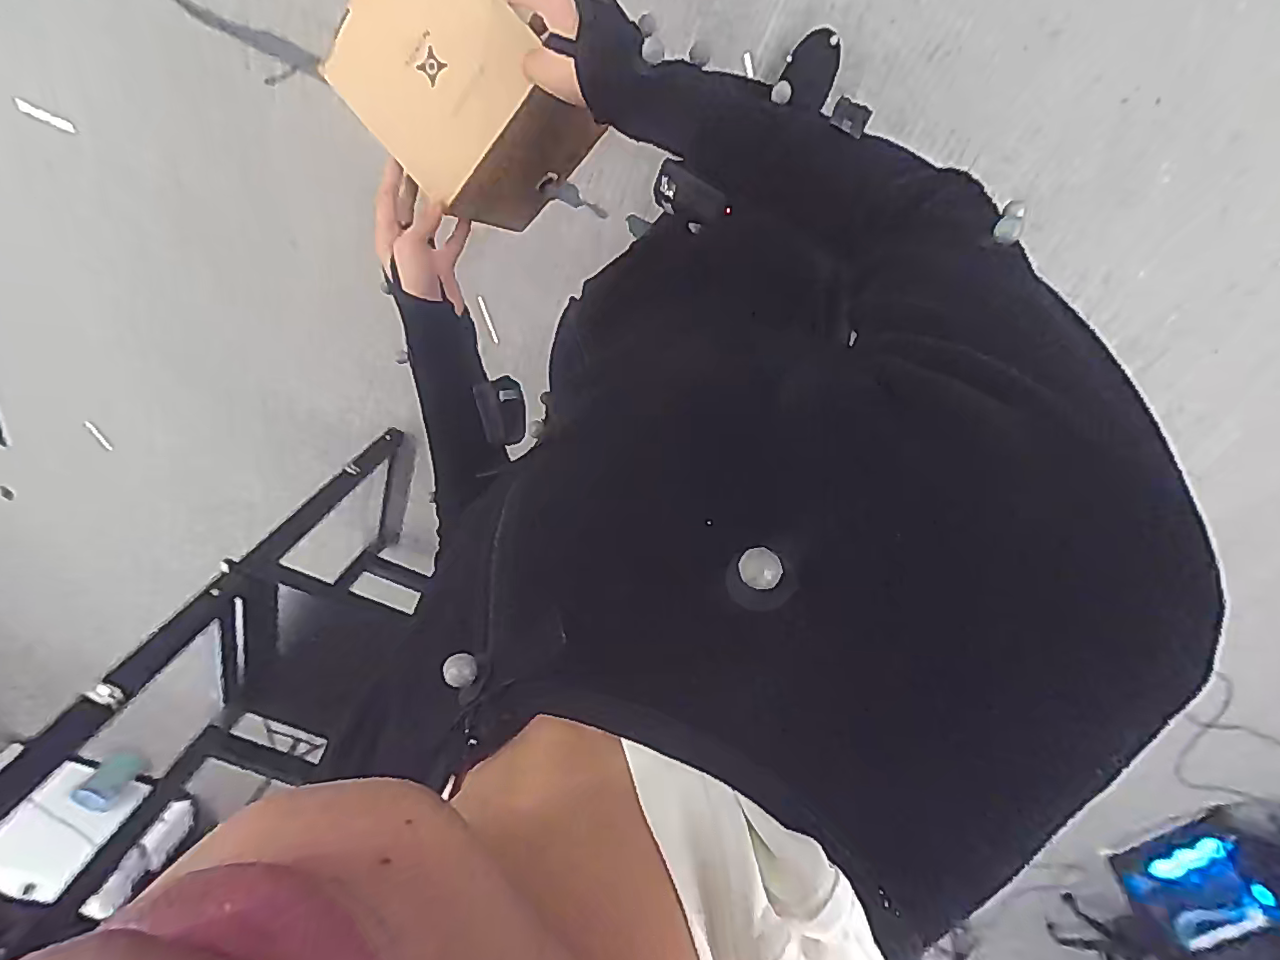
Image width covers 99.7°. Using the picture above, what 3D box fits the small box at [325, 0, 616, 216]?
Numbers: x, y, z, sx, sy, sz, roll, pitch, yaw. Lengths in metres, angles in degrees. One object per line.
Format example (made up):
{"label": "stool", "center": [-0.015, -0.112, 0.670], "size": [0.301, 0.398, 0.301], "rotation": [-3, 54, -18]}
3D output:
{"label": "small box", "center": [-0.153, -0.396, 0.538], "size": [0.168, 0.176, 0.179], "rotation": [-39, 94, 23]}
